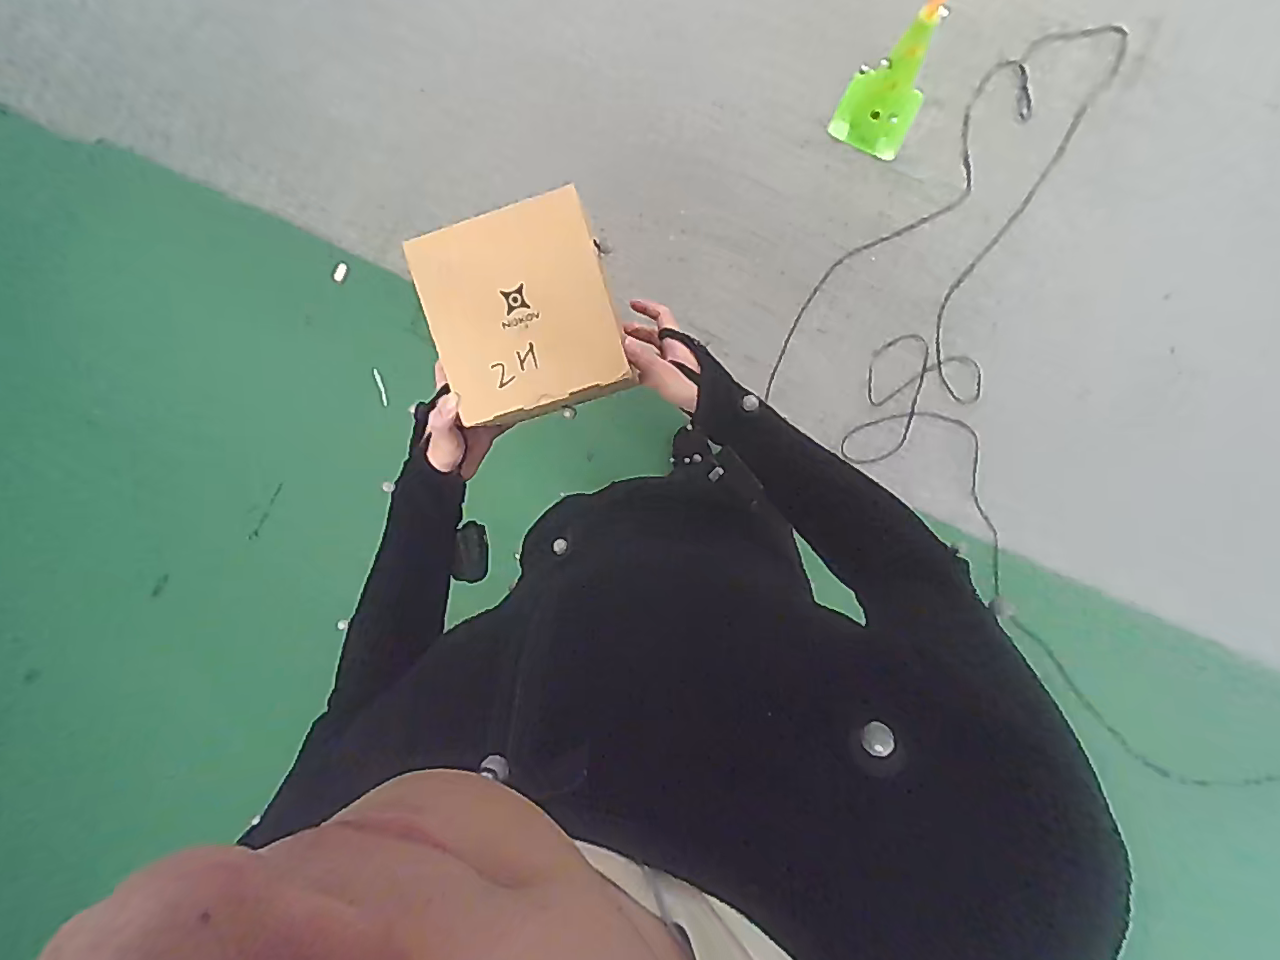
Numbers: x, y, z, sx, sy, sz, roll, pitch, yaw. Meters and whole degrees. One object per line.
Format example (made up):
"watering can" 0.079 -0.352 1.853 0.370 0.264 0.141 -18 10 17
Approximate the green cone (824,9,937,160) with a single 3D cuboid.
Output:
"green cone" 0.625 -1.003 1.335 0.202 0.368 0.200 26 96 1

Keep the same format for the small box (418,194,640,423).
"small box" -0.101 -0.164 0.576 0.168 0.176 0.179 -15 97 5
